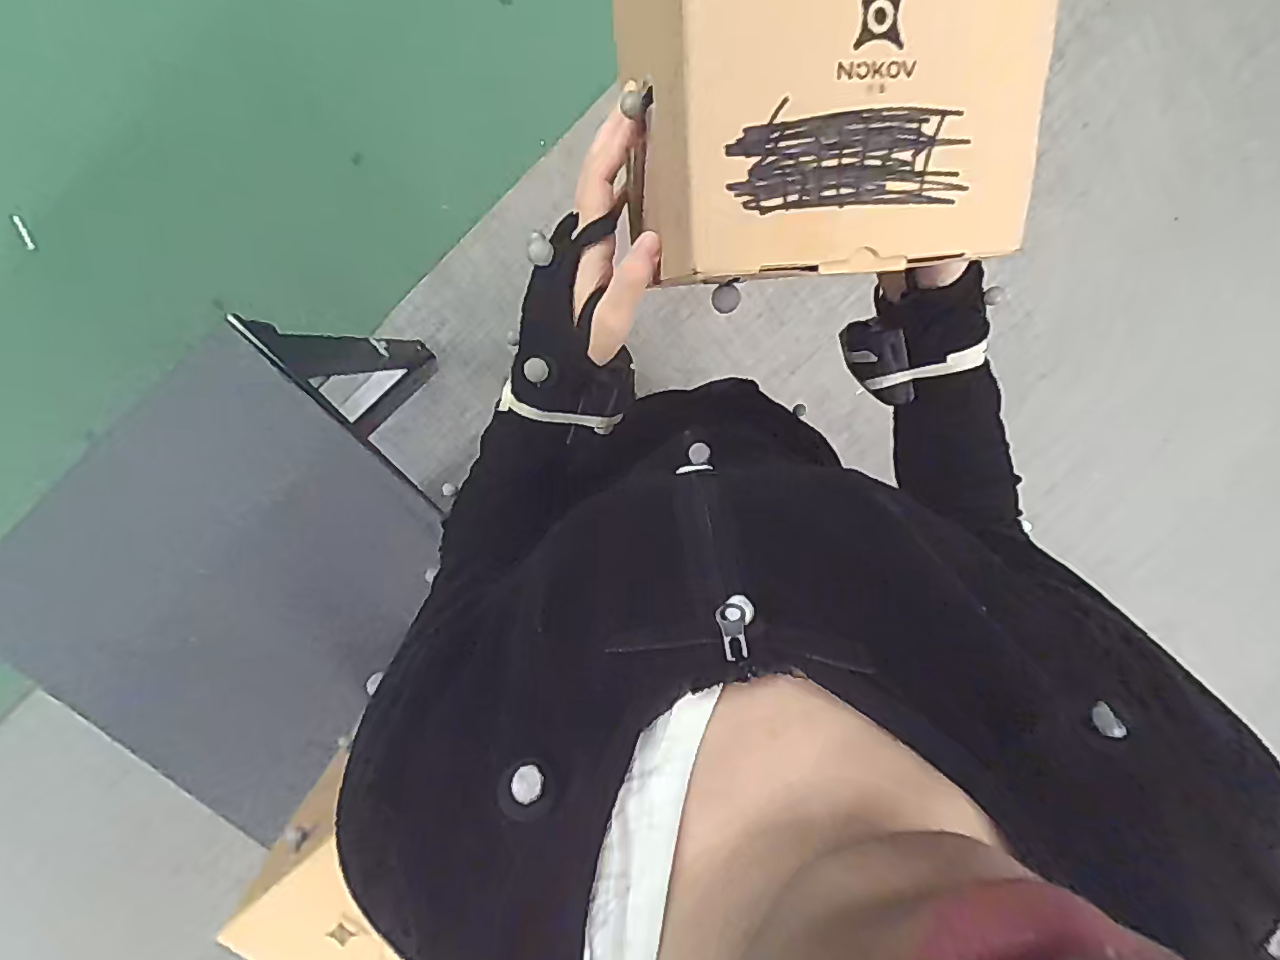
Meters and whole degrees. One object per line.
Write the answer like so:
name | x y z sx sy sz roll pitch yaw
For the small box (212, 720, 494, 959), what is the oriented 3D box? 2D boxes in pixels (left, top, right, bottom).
small box | -0.283 0.406 0.580 0.179 0.176 0.168 -41 103 6
